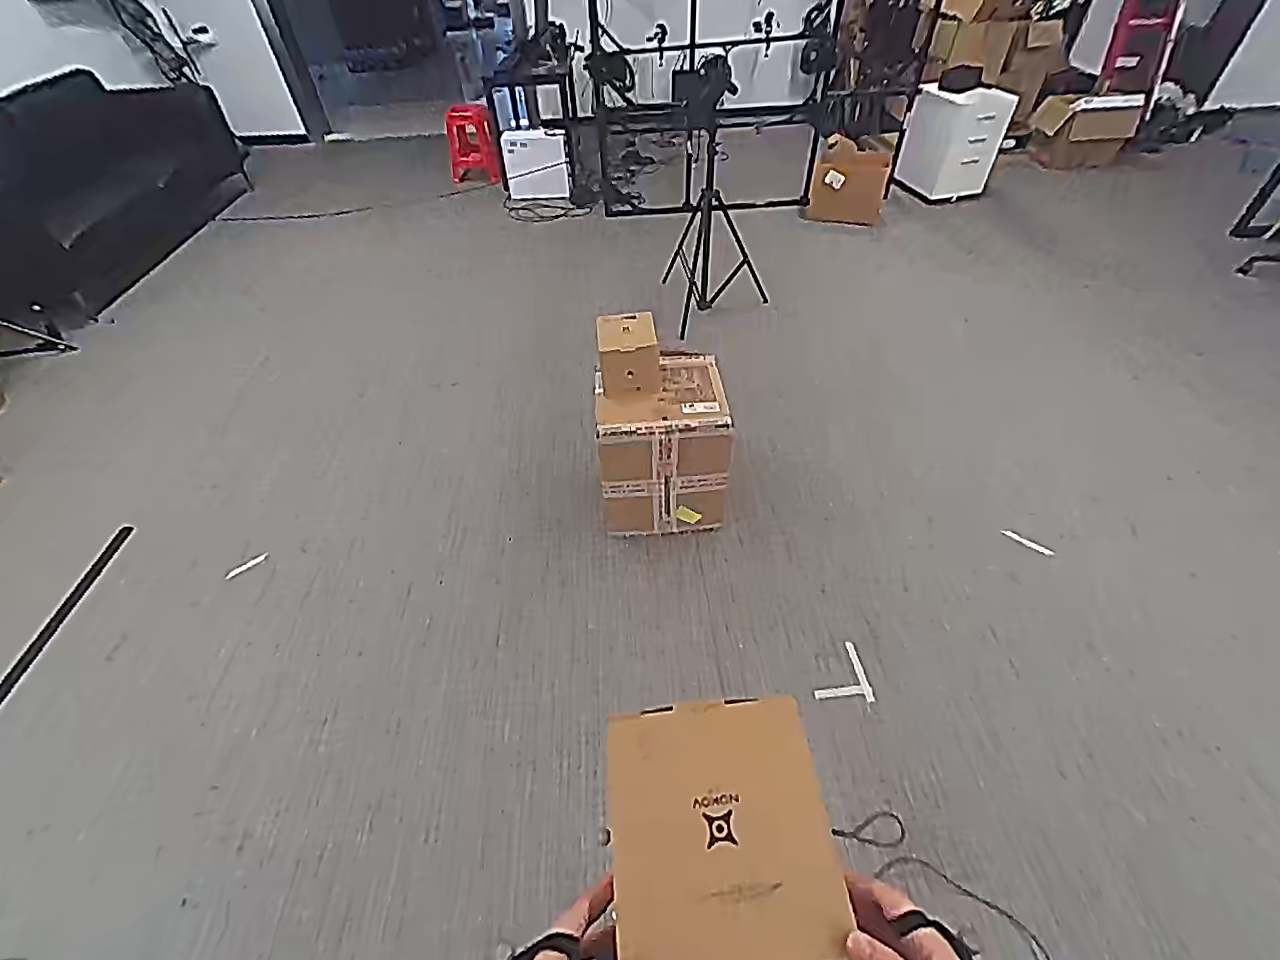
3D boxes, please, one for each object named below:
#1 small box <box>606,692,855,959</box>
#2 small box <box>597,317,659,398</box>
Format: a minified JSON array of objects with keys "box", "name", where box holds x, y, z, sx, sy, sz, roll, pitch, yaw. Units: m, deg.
[{"box":[0.058,0.307,0.473,0.168,0.176,0.179,-5,51,-2],"name":"small box"},{"box":[-0.034,-0.356,1.604,0.168,0.176,0.179,-6,50,-1],"name":"small box"}]
